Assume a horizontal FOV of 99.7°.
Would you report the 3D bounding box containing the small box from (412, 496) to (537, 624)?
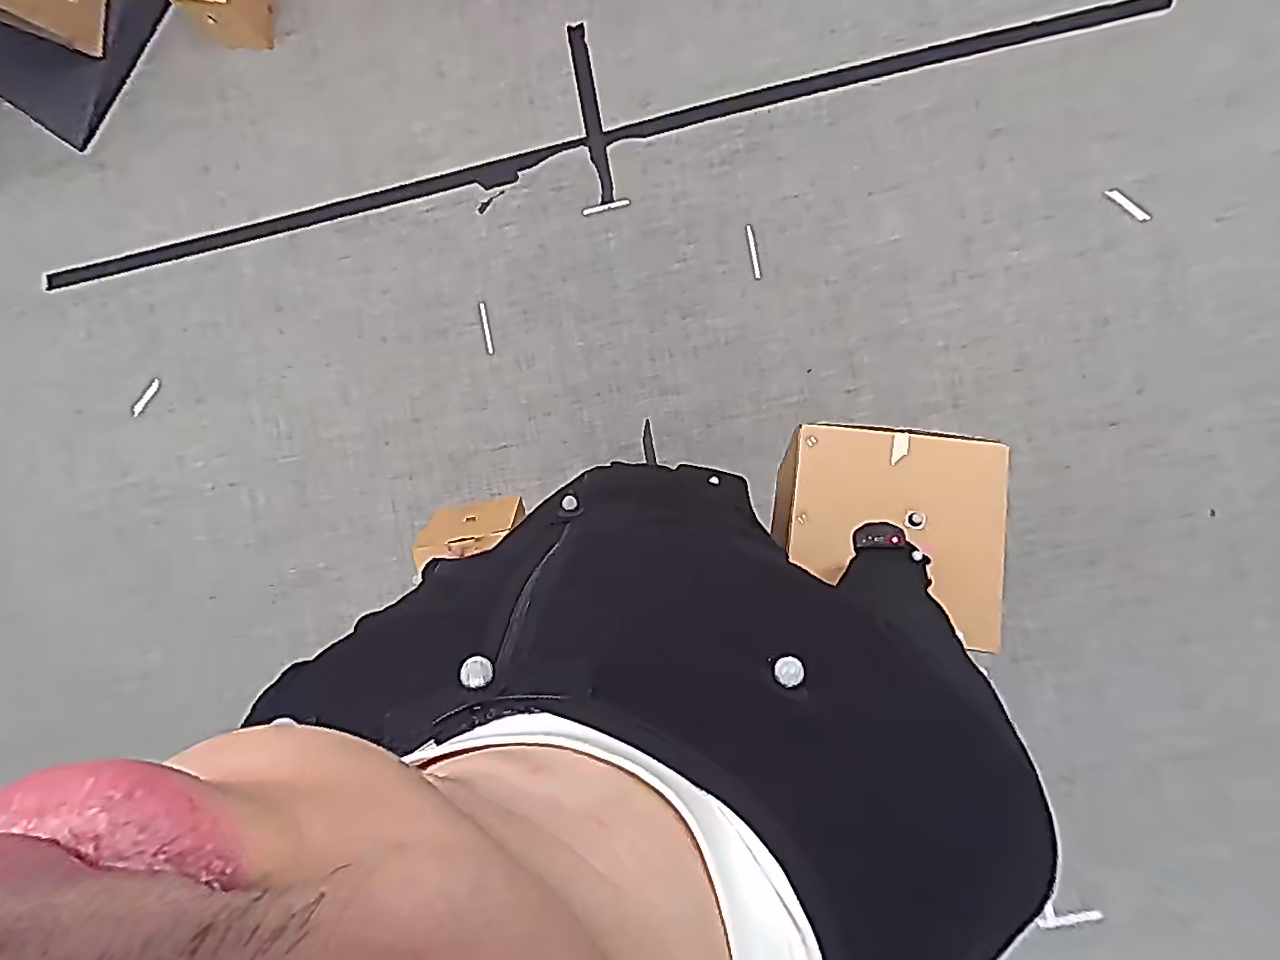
[{"bbox_3d":[-0.291,0.149,0.996,0.168,0.179,0.176,-11,109,-3],"label":"small box"}]
